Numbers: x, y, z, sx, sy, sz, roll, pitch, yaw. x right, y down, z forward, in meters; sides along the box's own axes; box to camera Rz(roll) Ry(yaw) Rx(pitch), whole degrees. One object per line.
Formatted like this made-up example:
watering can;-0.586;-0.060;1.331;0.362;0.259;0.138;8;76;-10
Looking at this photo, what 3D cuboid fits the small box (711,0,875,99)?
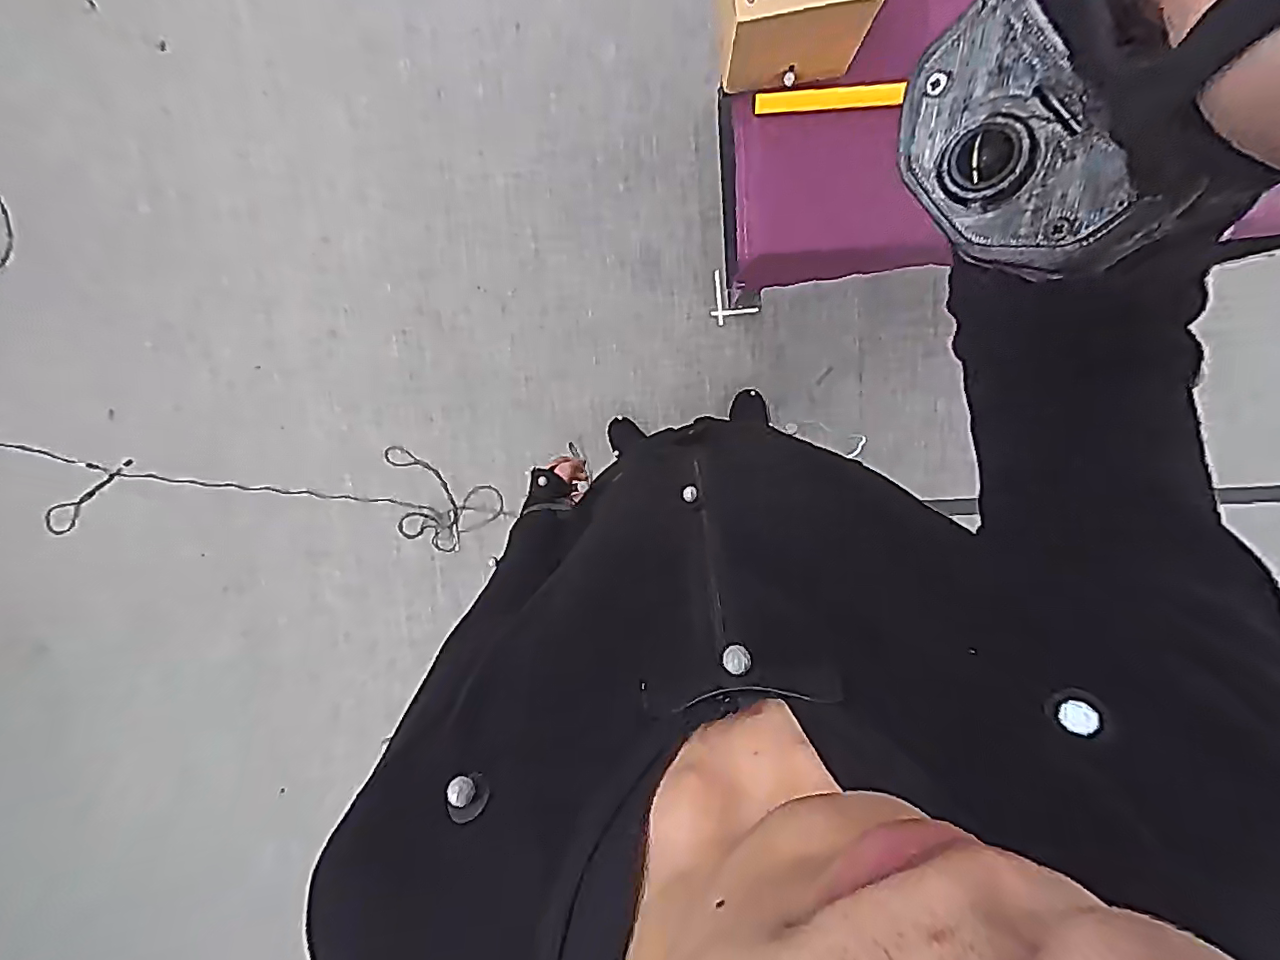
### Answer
small box;0.192;-0.645;0.718;0.179;0.176;0.168;-5;100;4
